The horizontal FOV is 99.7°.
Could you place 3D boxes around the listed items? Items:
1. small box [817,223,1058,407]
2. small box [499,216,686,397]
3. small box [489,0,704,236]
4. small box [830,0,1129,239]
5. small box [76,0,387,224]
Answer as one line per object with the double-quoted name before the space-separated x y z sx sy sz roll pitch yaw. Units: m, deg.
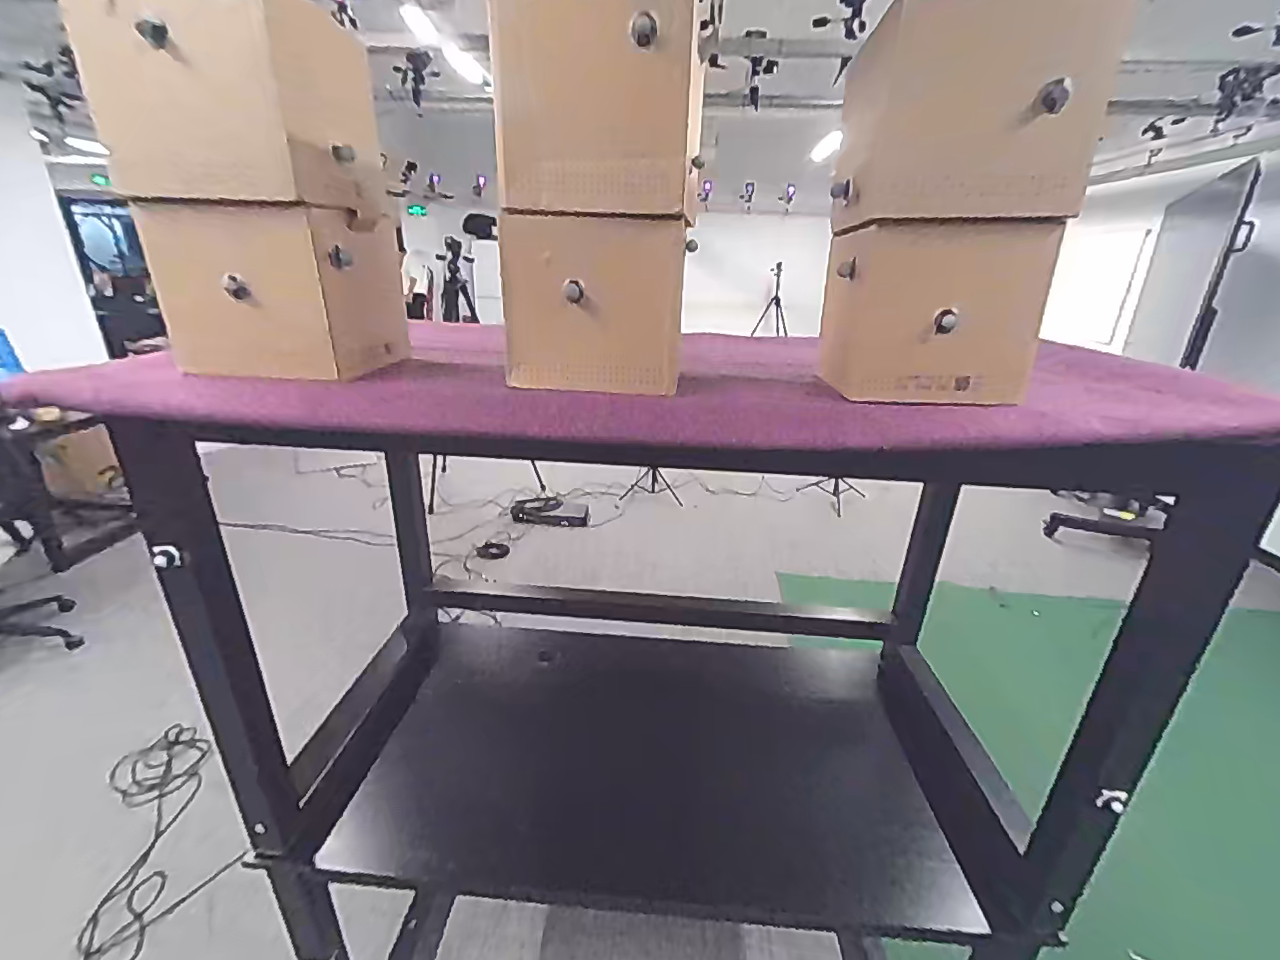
"small box" 0.300 -0.178 0.589 0.168 0.176 0.179 3 20 5
"small box" -0.041 -0.191 0.601 0.179 0.176 0.168 3 22 5
"small box" -0.032 -0.341 0.536 0.179 0.176 0.168 6 22 7
"small box" 0.297 -0.326 0.520 0.179 0.176 0.168 1 19 5
"small box" -0.380 -0.356 0.536 0.179 0.176 0.168 4 22 2
